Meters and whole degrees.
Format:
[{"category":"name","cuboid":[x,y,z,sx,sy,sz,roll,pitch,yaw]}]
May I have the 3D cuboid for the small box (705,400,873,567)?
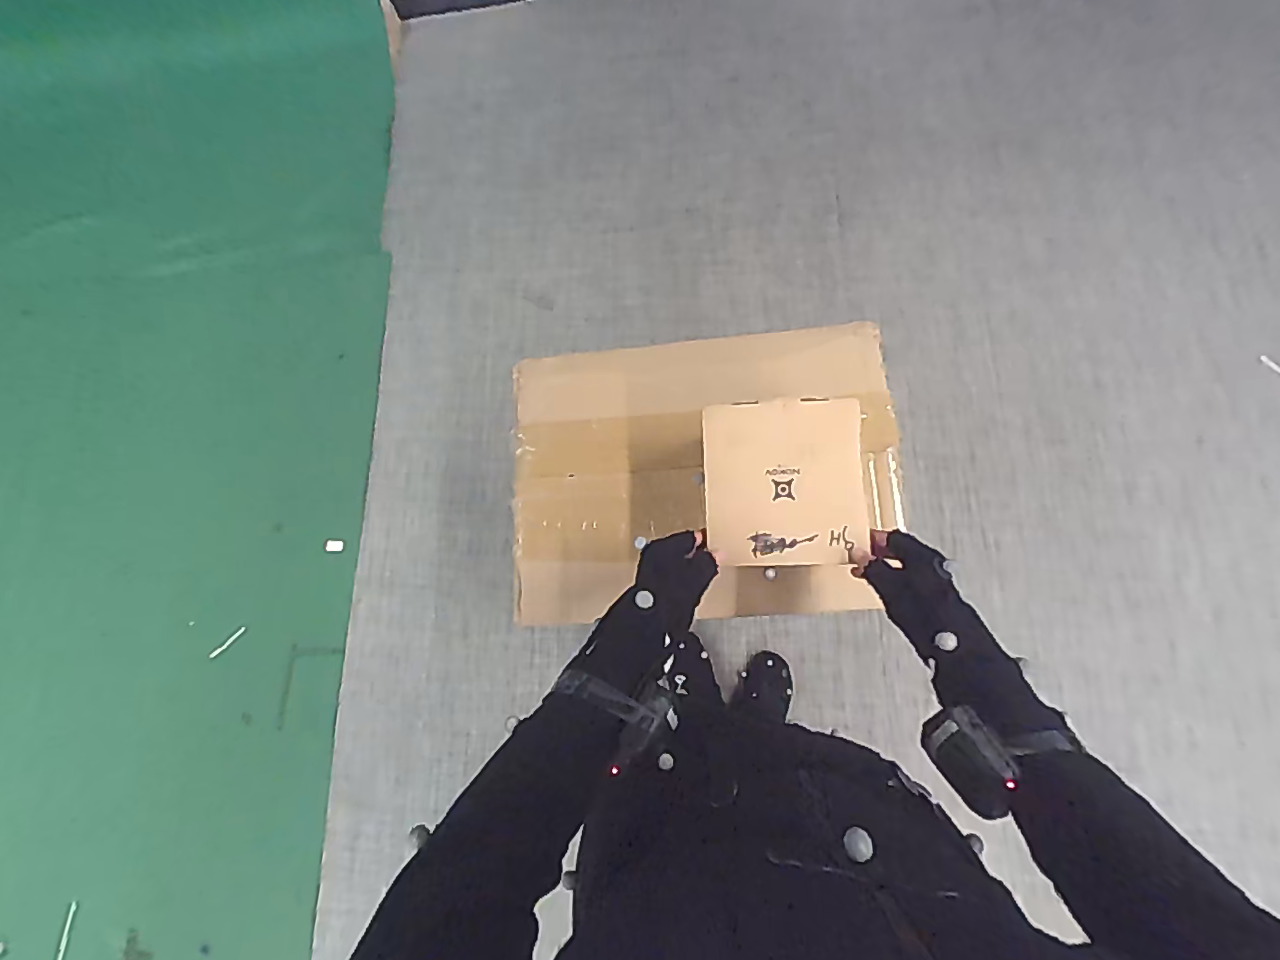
[{"category":"small box","cuboid":[0.164,0.014,0.649,0.168,0.176,0.179,-2,82,6]}]
